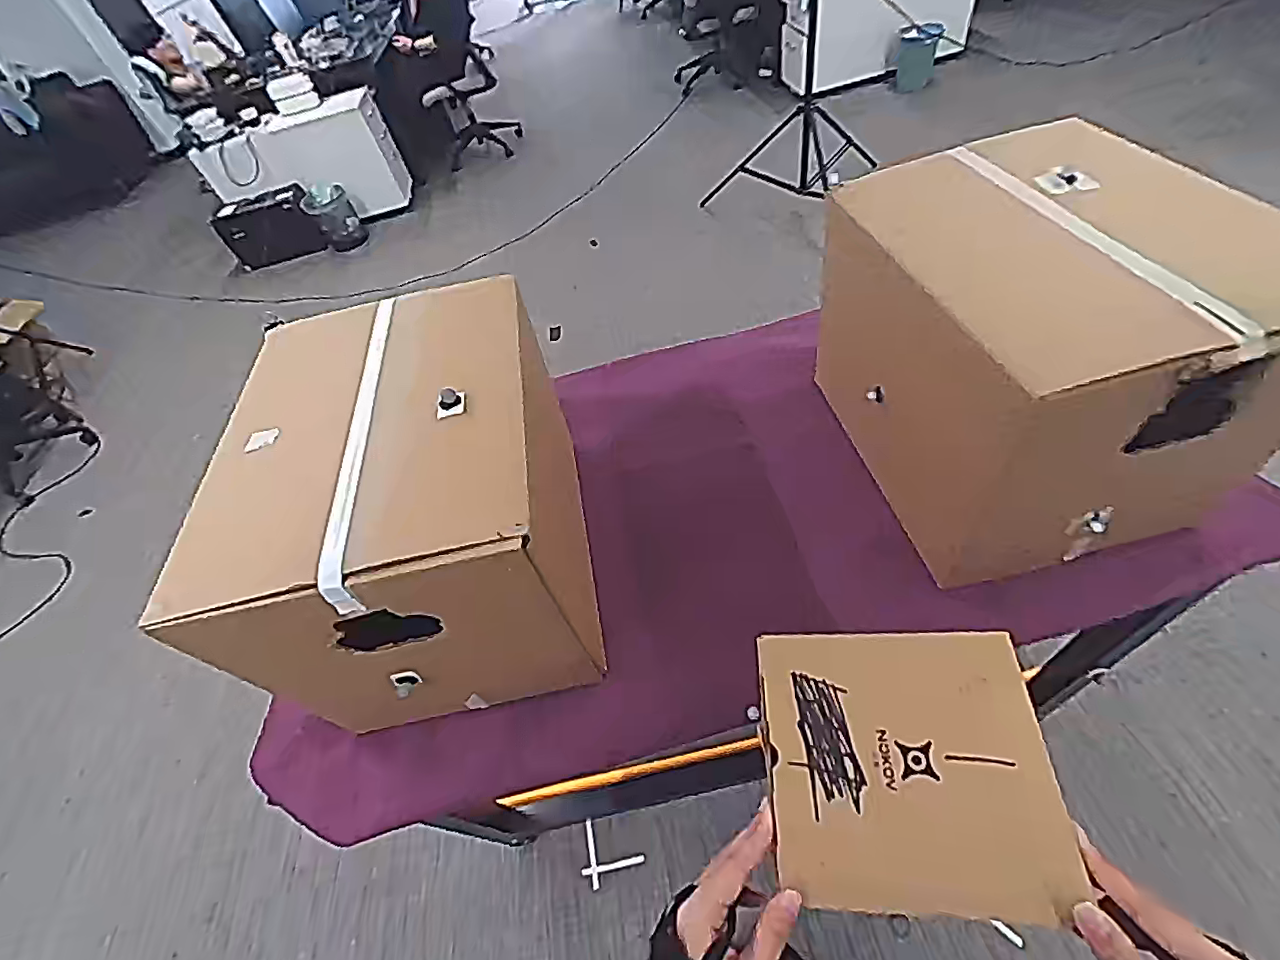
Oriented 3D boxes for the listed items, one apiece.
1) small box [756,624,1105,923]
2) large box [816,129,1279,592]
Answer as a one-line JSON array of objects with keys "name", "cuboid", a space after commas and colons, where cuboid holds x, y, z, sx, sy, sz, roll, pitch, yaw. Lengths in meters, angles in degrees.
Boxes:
[{"name": "small box", "cuboid": [0.185, 0.217, 0.412, 0.179, 0.176, 0.168, -4, 56, 10]}, {"name": "large box", "cuboid": [0.436, -0.144, 0.635, 0.320, 0.320, 0.408, -14, 49, 1]}]
